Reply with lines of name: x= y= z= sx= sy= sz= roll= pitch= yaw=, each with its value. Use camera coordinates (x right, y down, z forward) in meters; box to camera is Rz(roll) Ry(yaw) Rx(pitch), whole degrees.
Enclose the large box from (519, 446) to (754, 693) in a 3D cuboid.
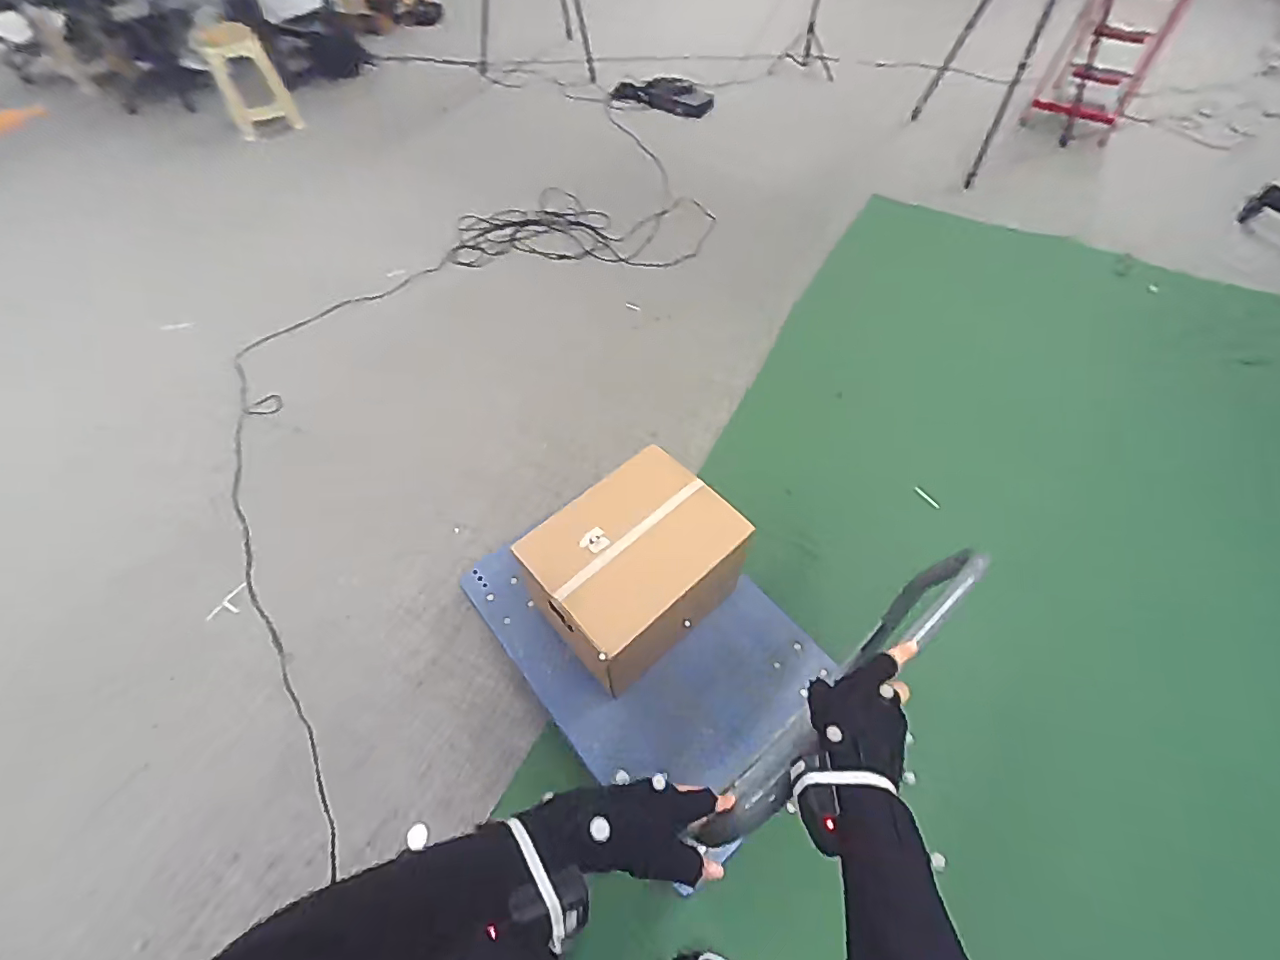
large box: x=-0.003 y=0.204 z=1.239 sx=0.408 sy=0.320 sz=0.320 roll=-37 pitch=62 yaw=-22
